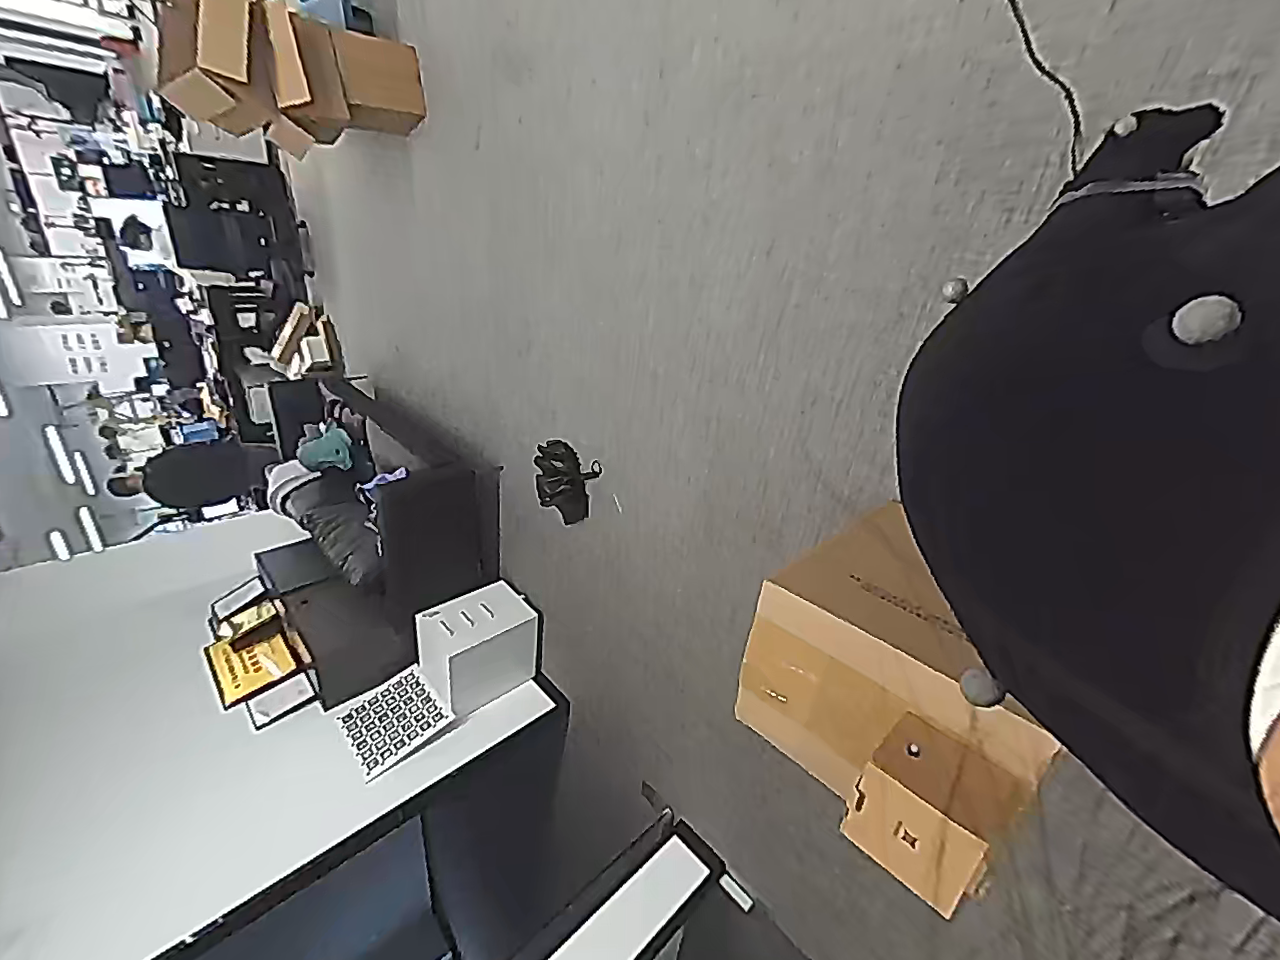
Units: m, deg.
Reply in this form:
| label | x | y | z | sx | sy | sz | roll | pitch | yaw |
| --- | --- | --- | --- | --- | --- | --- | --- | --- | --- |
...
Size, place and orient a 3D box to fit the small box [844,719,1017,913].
| label | x | y | z | sx | sy | sz | roll | pitch | yaw |
| --- | --- | --- | --- | --- | --- | --- | --- | --- | --- |
| small box | 0.465 | 0.518 | 0.869 | 0.179 | 0.176 | 0.168 | 26 | 118 | 39 |
